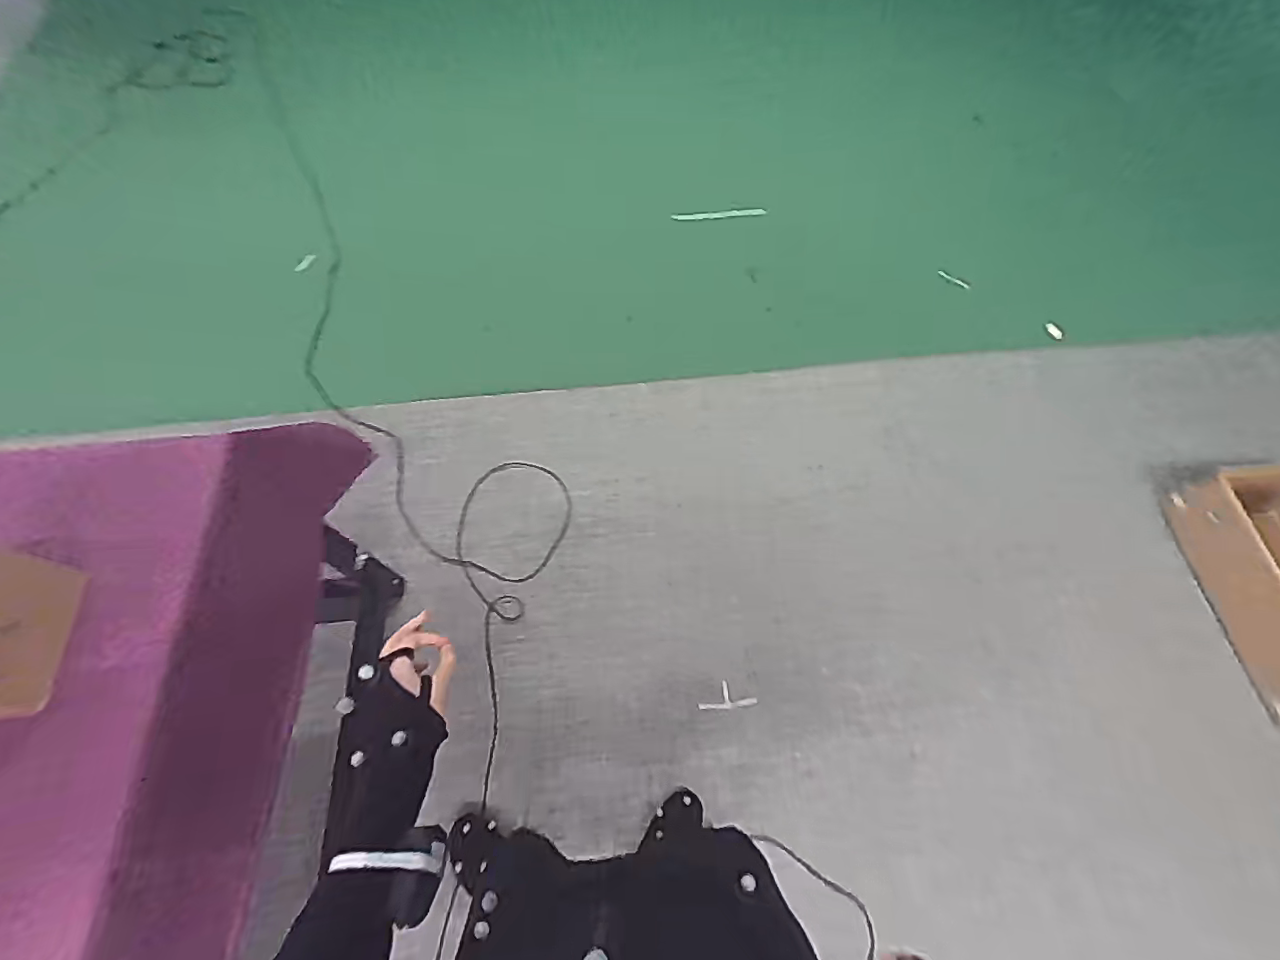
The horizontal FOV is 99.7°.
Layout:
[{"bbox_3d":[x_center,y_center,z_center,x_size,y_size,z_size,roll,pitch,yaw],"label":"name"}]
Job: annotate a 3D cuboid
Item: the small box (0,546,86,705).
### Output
[{"bbox_3d":[-0.822,0.173,0.632,0.168,0.176,0.179,-7,64,-3],"label":"small box"}]
